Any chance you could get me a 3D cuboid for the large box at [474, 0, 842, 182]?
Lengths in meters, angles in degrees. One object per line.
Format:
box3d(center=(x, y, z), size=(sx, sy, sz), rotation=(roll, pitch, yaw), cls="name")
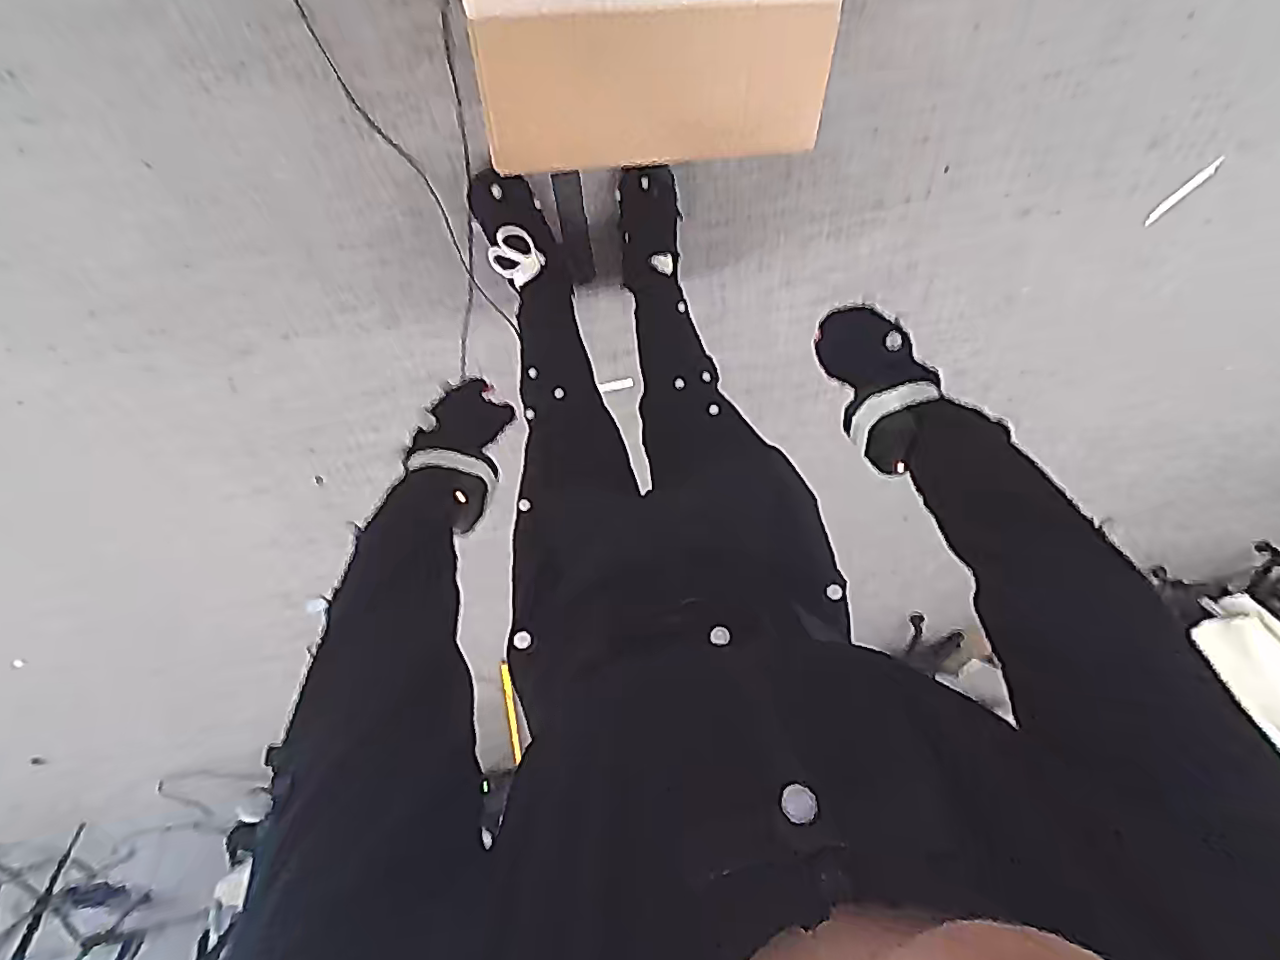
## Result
box3d(center=(-0.001, -0.603, 0.678), size=(0.408, 0.320, 0.320), rotation=(-8, 136, -7), cls="large box")
